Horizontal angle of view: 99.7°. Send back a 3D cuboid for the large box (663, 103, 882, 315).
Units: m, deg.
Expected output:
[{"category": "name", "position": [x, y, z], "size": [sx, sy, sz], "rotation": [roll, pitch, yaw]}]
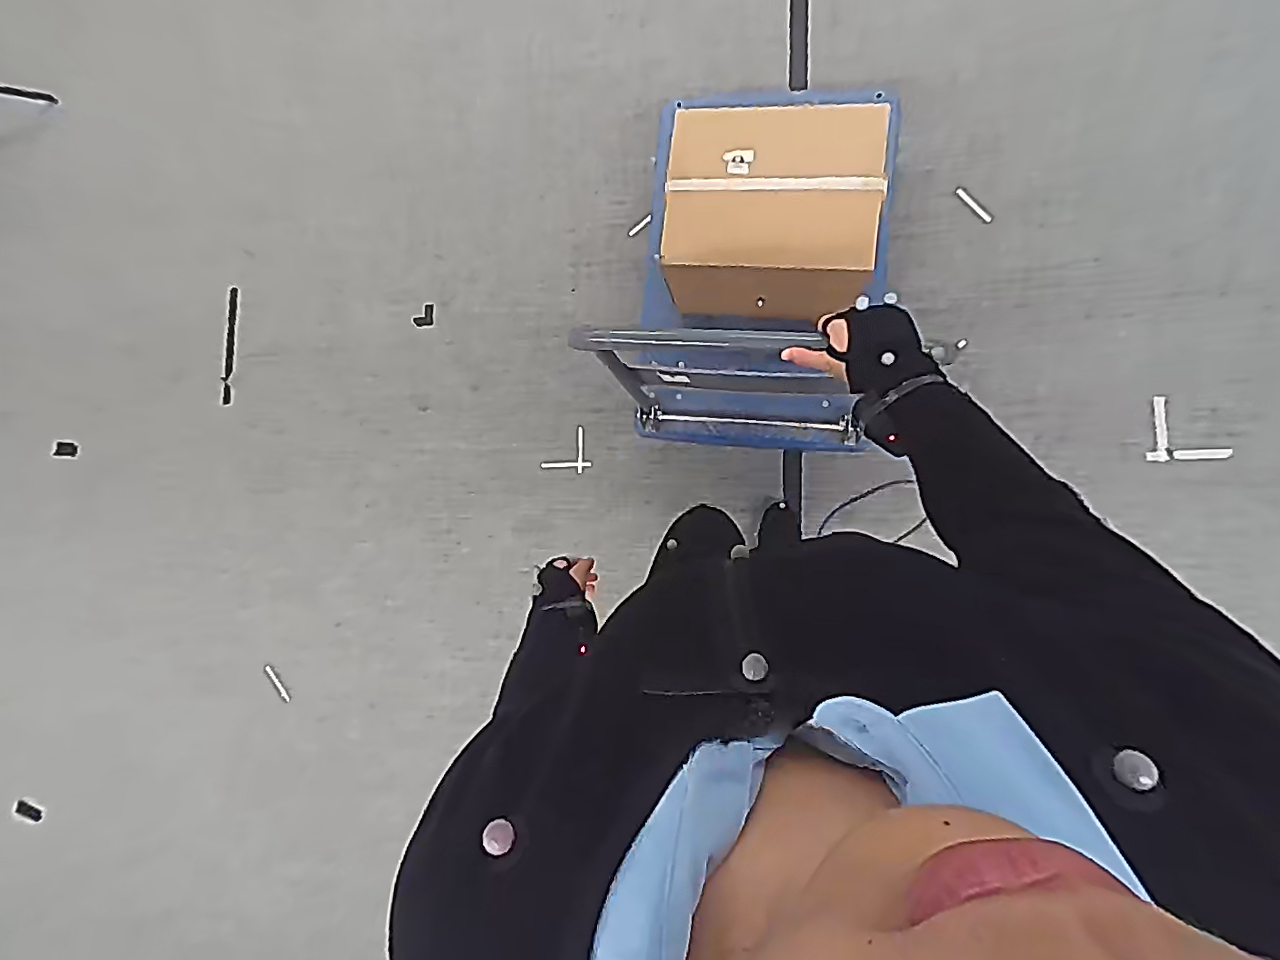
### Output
[{"category": "large box", "position": [0.284, -0.563, 1.195], "size": [0.408, 0.320, 0.320], "rotation": [5, 89, 13]}]
